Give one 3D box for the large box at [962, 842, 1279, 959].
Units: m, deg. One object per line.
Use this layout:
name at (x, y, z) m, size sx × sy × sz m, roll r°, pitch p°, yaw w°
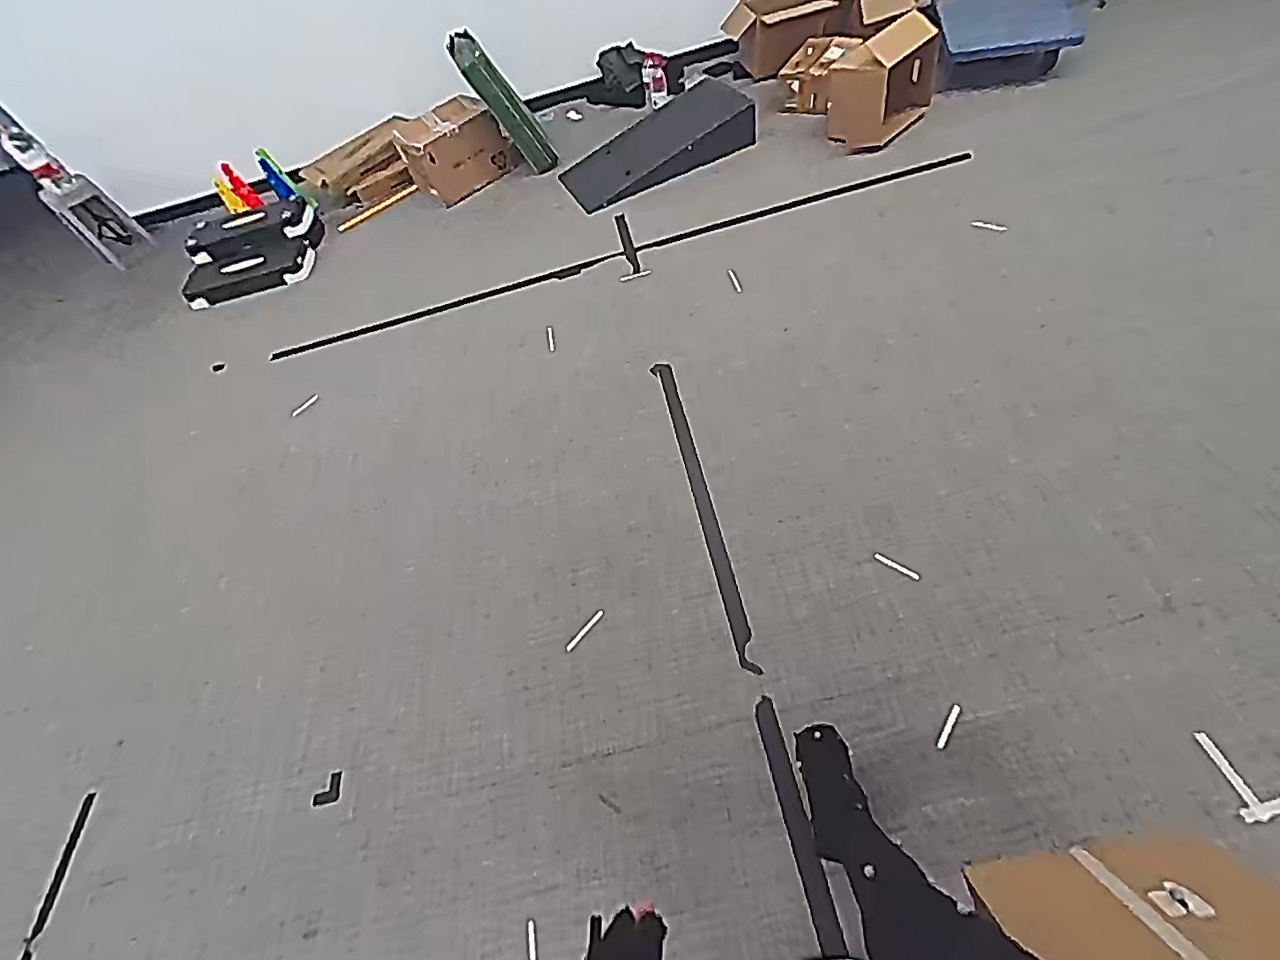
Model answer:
large box at (0.628, 0.667, 0.566) m, size 0.320 × 0.408 × 0.320 m, roll -14°, pitch 79°, yaw 8°
